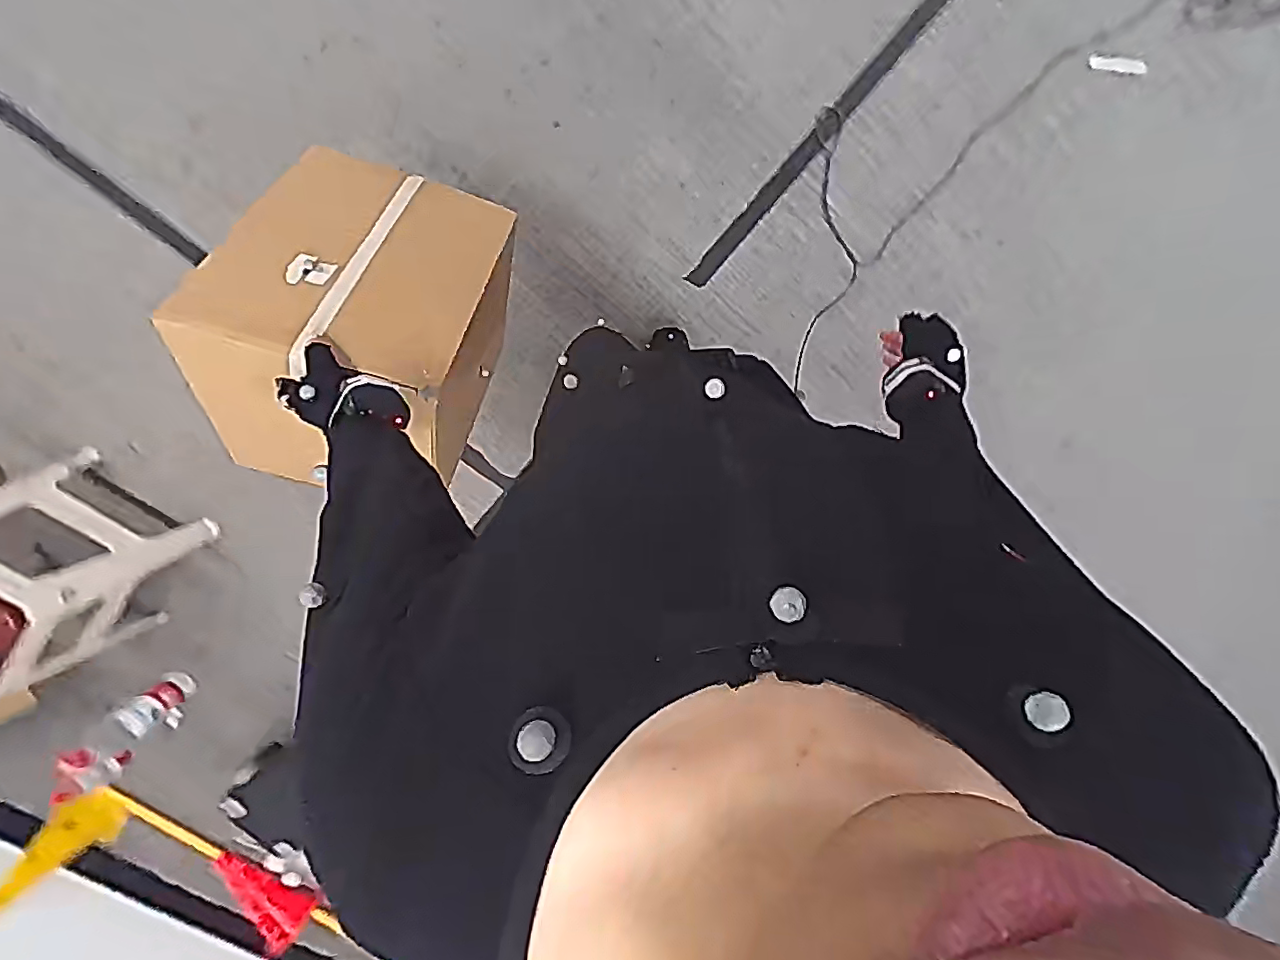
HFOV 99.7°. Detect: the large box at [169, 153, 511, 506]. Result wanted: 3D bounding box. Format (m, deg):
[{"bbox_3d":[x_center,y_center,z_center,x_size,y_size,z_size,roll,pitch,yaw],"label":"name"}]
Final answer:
[{"bbox_3d":[-0.421,-0.230,0.875,0.320,0.408,0.320,15,146,-9],"label":"large box"}]
